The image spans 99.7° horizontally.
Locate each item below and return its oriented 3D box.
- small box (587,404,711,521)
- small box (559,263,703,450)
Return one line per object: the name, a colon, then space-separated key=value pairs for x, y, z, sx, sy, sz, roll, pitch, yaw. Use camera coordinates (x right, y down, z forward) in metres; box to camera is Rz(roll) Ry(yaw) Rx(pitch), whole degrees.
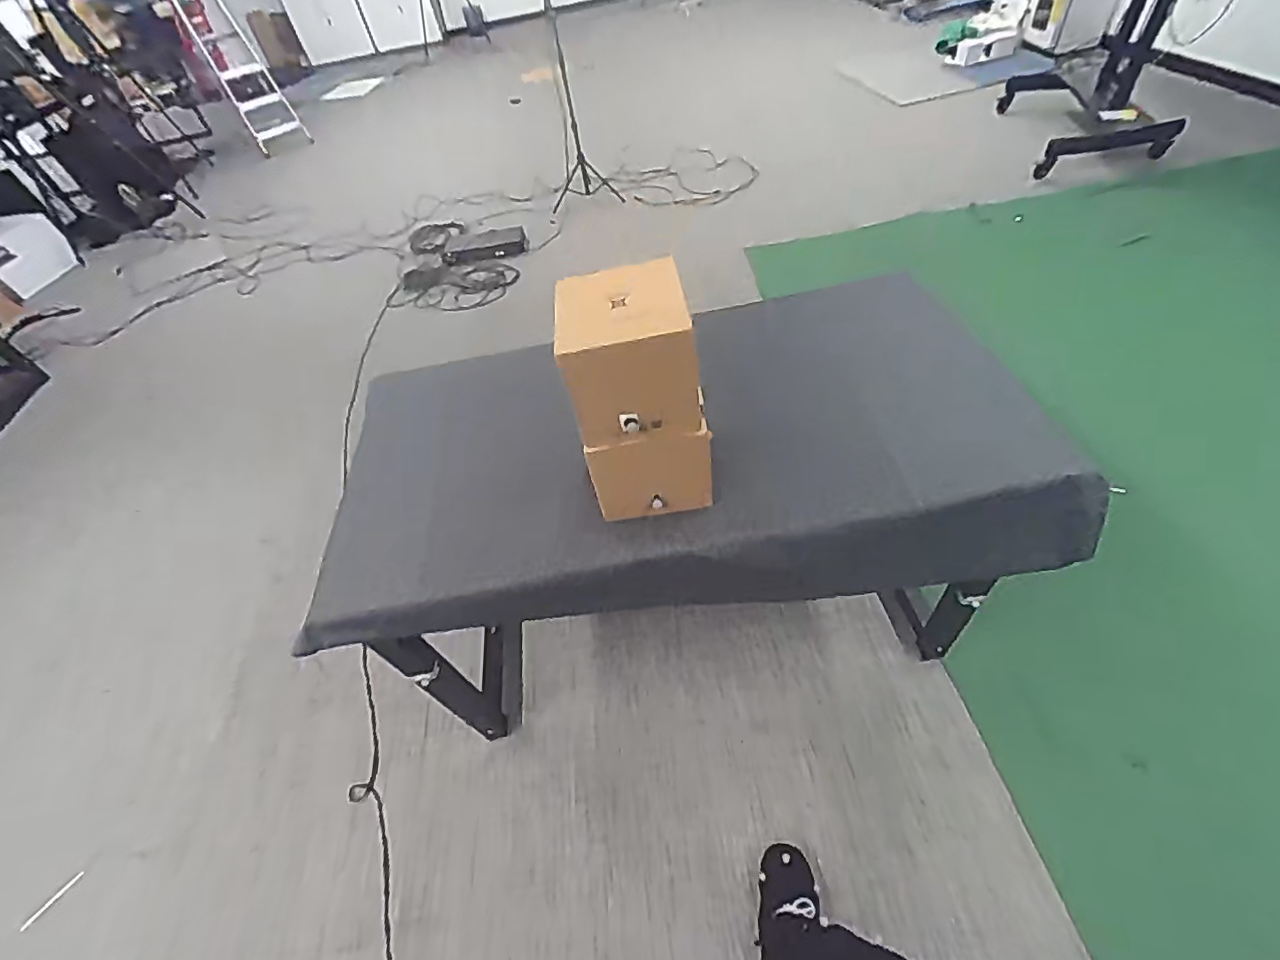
small box: x=0.016 y=-0.055 z=0.863 sx=0.179 sy=0.176 sz=0.168 roll=-9 pitch=48 yaw=3
small box: x=-0.010 y=-0.167 z=0.748 sx=0.168 sy=0.176 sz=0.179 roll=-11 pitch=50 yaw=3
